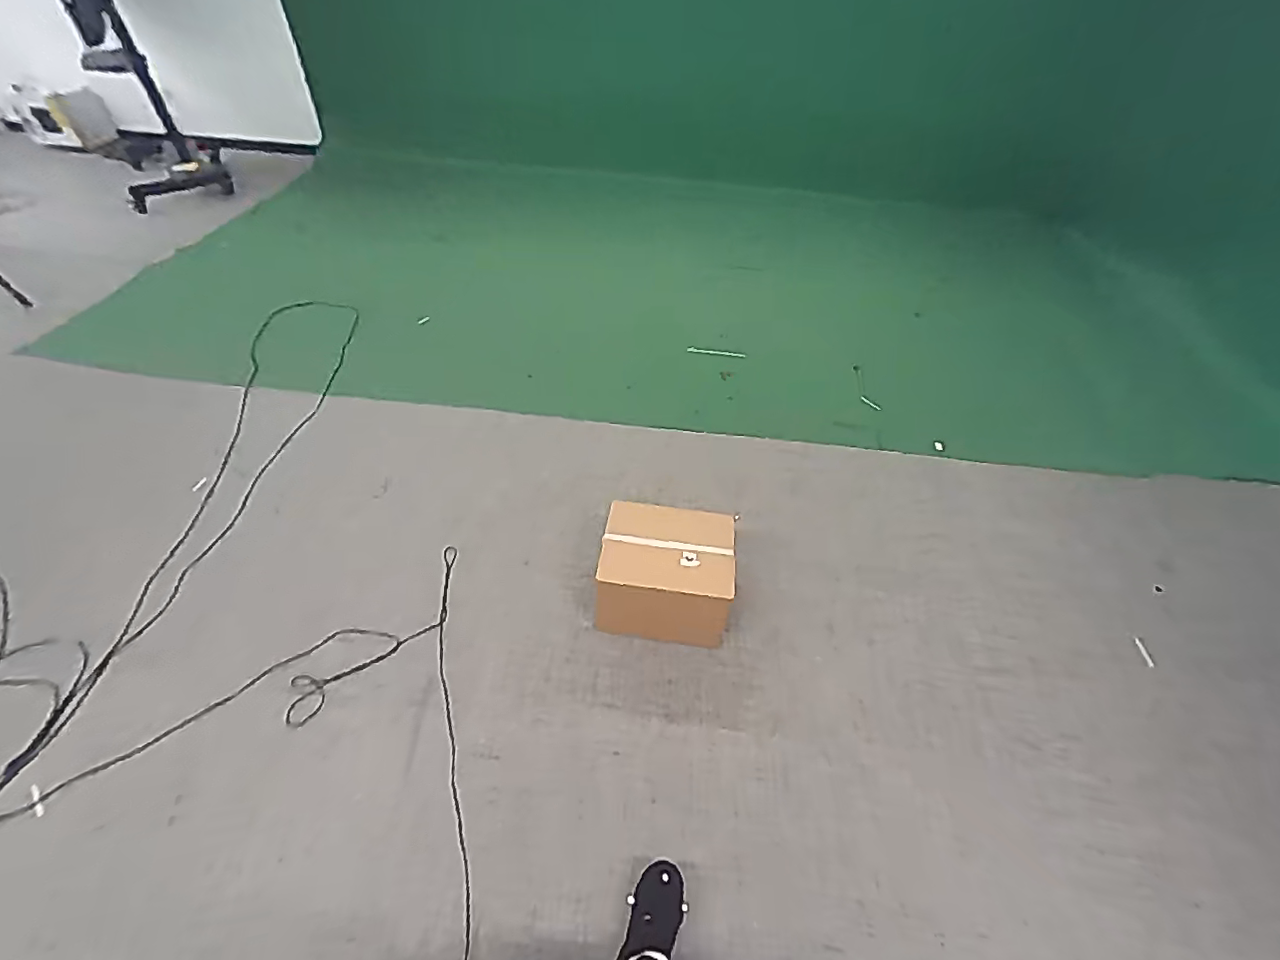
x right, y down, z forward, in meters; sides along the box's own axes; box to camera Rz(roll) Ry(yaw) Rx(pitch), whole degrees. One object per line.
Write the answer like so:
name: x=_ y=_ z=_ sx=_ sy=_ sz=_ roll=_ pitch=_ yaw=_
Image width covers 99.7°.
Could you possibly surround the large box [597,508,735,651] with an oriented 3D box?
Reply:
large box: x=0.080 y=0.324 z=1.756 sx=0.408 sy=0.320 sz=0.320 roll=7 pitch=46 yaw=3
